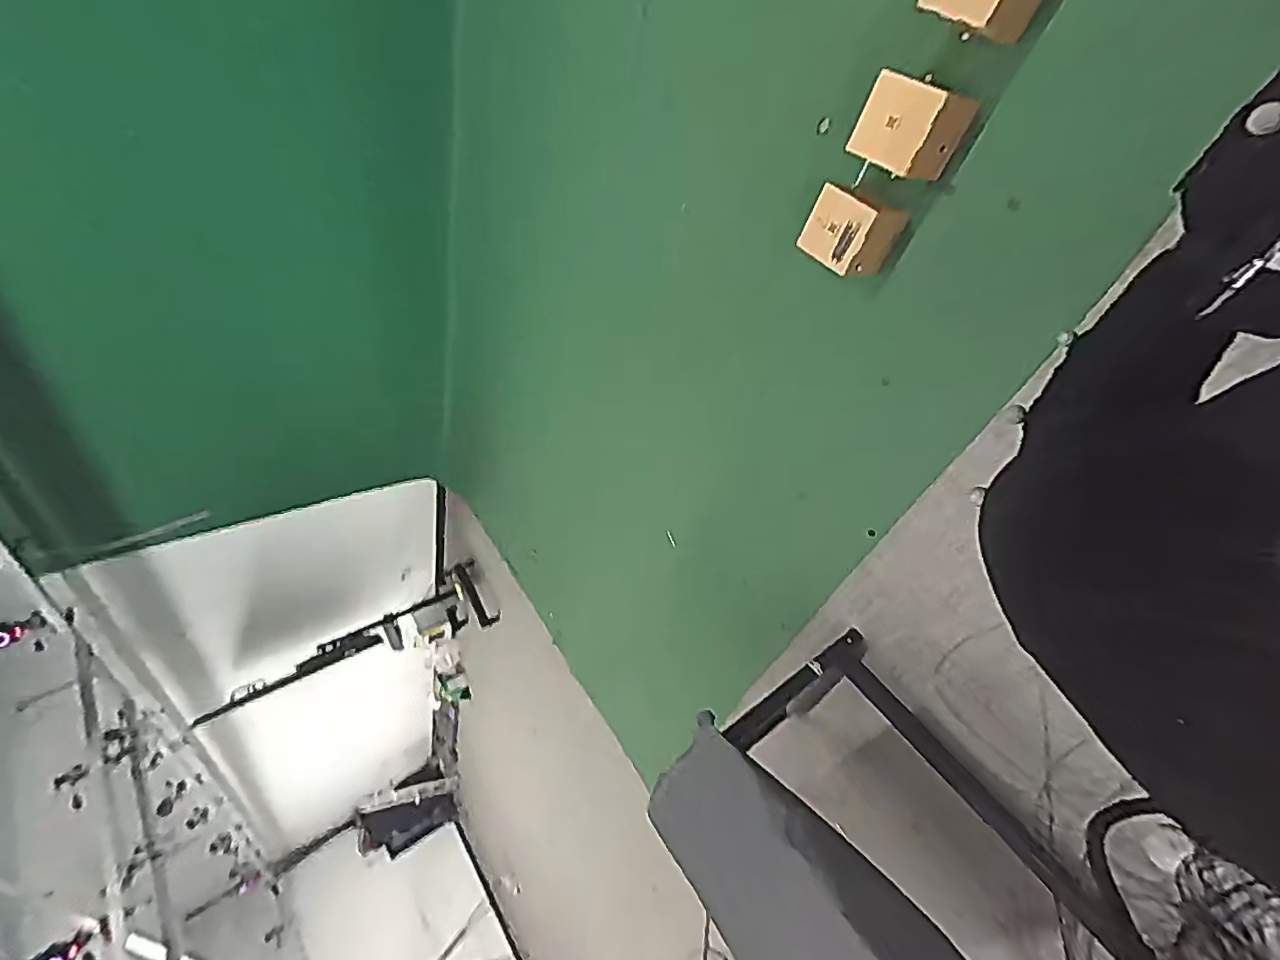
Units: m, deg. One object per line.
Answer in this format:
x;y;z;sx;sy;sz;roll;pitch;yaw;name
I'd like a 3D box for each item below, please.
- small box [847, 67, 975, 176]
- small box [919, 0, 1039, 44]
0.634;-0.831;1.267;0.179;0.176;0.168;47;137;28;small box
0.711;-1.019;1.082;0.168;0.176;0.179;50;138;26;small box
